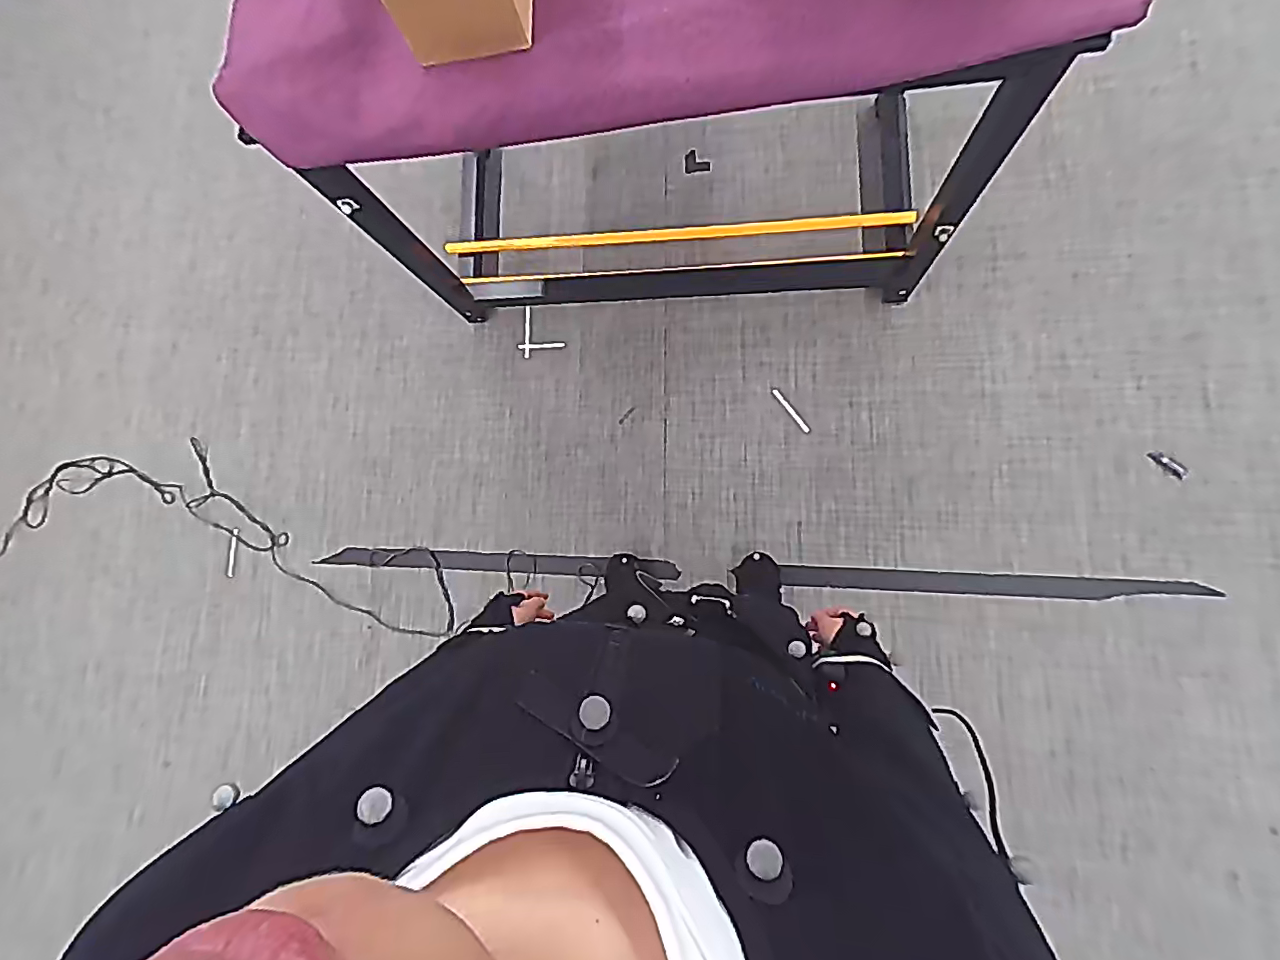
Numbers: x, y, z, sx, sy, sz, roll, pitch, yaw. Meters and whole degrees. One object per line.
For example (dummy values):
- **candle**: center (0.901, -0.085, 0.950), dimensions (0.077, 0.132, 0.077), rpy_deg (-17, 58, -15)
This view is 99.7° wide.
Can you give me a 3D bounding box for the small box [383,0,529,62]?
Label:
- **small box**: center (-0.251, -0.705, 0.717), dimensions (0.179, 0.176, 0.168), rpy_deg (-2, 82, 9)
